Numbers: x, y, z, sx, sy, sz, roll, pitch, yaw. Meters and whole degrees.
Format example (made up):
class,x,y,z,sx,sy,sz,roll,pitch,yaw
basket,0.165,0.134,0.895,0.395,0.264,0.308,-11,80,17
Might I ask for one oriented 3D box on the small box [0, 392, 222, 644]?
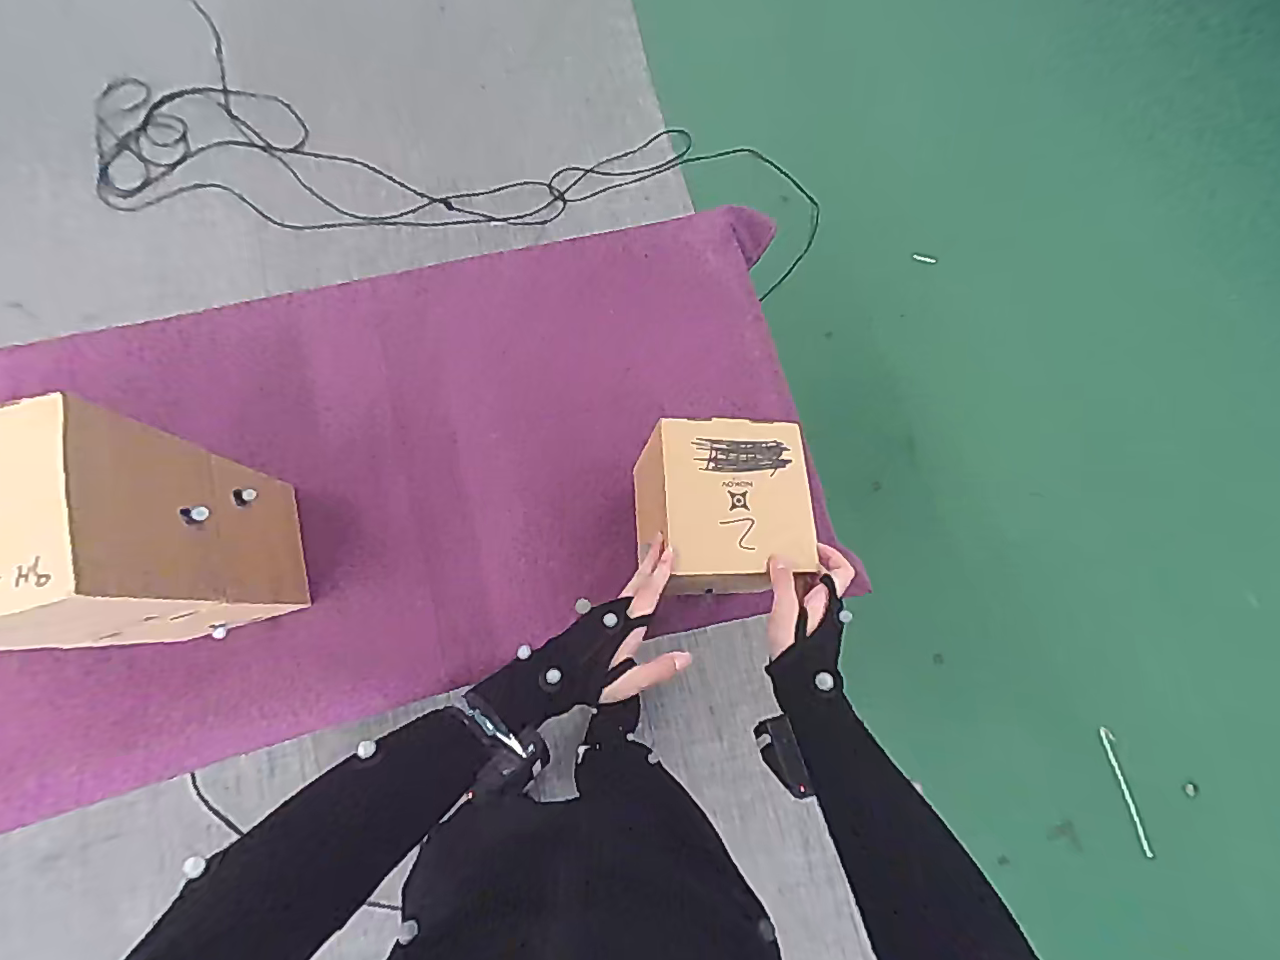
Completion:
class,x,y,z,sx,sy,sz,roll,pitch,yaw
small box,-0.530,0.046,0.496,0.168,0.176,0.179,-15,77,-6

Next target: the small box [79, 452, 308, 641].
class,x,y,z,sx,sy,sz,roll,pitch,yaw
small box,-0.538,0.086,0.656,0.168,0.176,0.179,-15,78,-6
